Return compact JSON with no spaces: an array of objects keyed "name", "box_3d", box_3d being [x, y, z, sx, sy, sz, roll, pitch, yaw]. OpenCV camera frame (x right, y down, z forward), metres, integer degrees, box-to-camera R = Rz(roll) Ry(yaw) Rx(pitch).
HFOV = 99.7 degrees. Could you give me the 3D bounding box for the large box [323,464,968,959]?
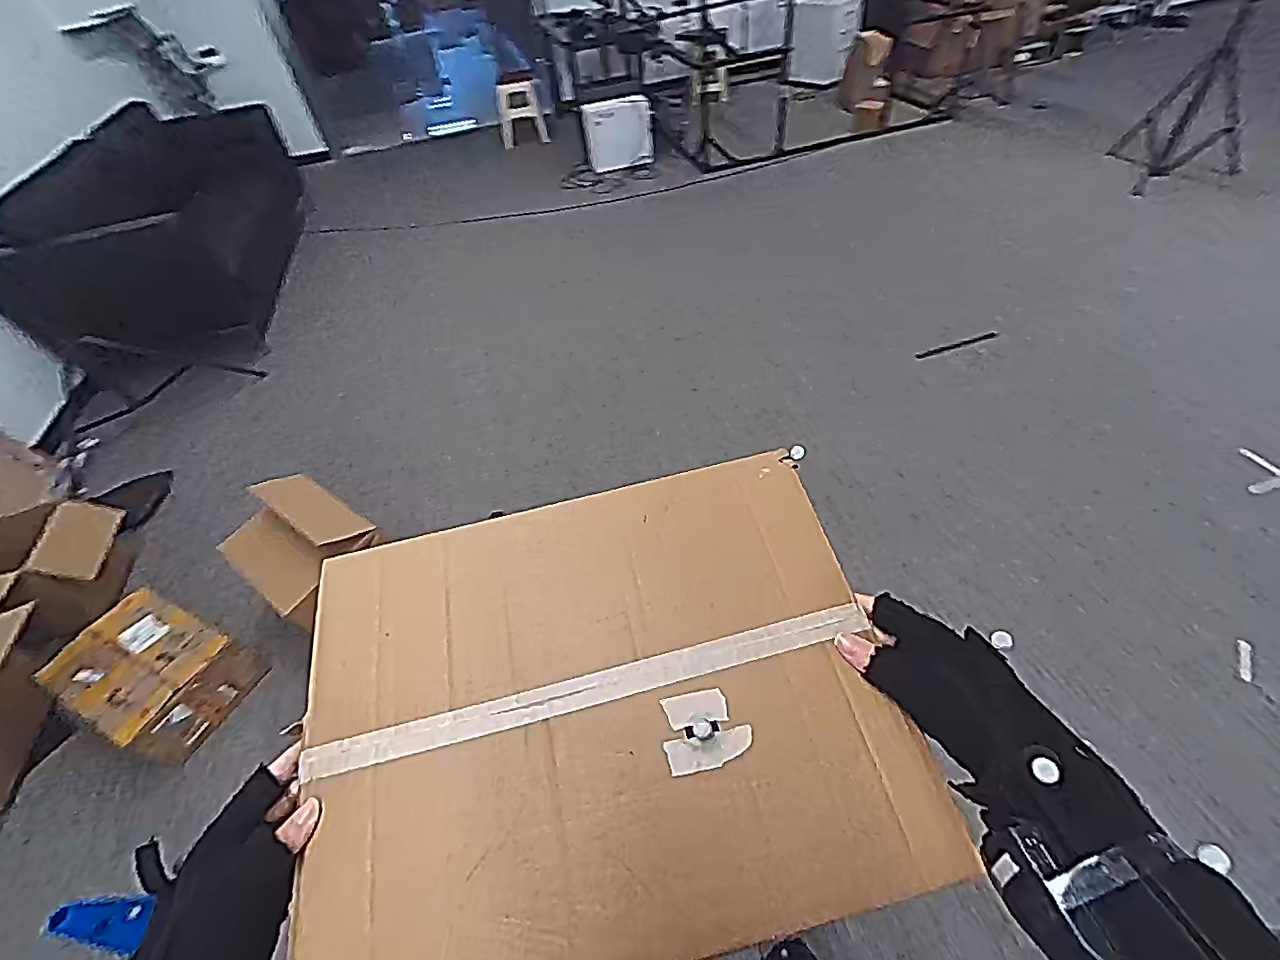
[{"name":"large box","box_3d":[-0.014,0.235,0.519,0.408,0.320,0.320,-13,58,-4]}]
